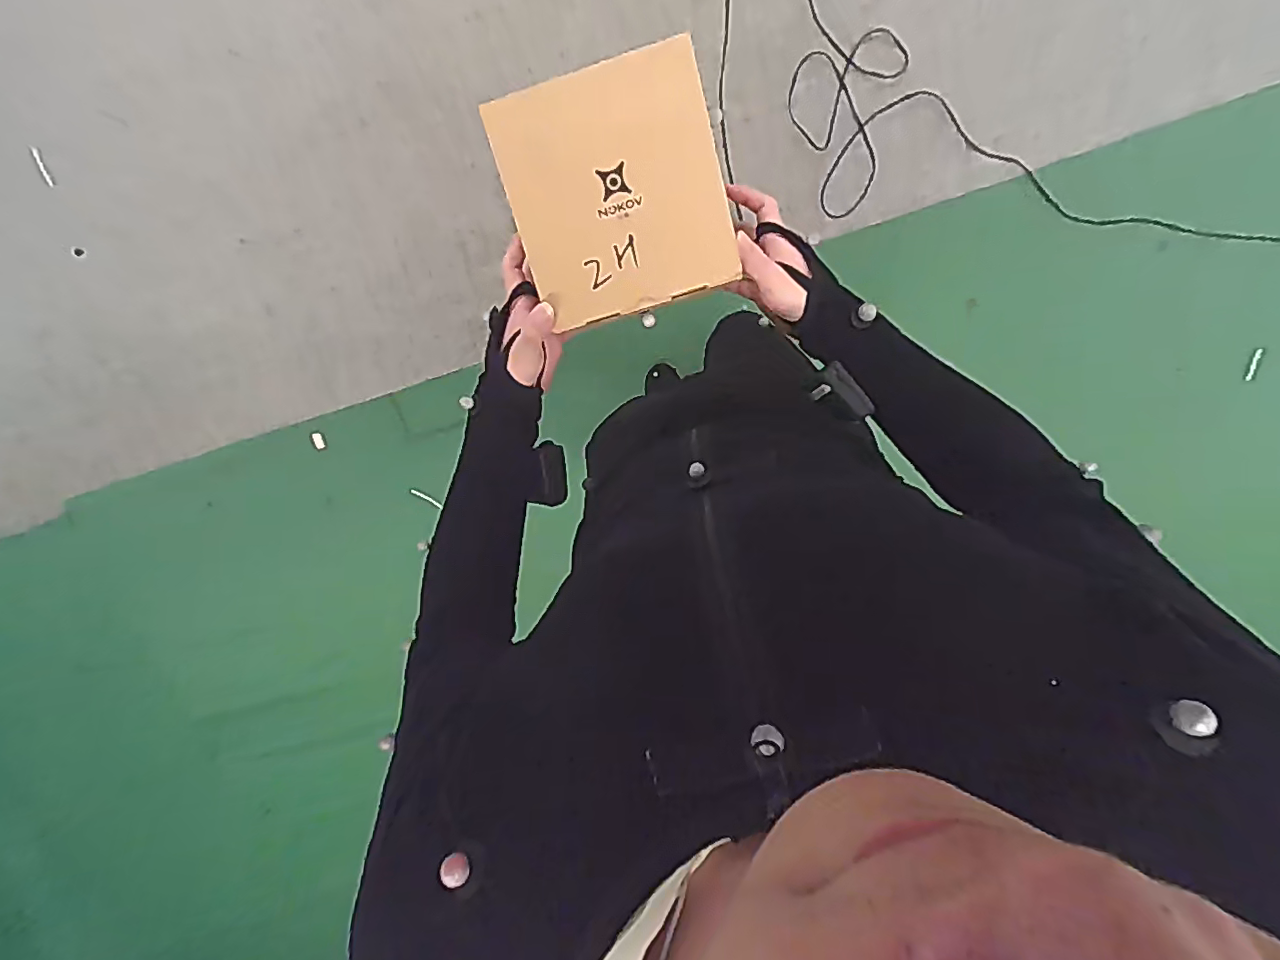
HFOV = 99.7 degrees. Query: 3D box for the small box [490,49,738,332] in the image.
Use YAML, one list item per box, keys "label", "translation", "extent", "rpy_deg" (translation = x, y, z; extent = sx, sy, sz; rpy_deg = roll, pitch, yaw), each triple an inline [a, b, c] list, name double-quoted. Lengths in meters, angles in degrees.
- label: "small box"
  translation: [-0.017, -0.244, 0.507]
  extent: [0.168, 0.176, 0.179]
  rpy_deg: [-14, 105, 6]
